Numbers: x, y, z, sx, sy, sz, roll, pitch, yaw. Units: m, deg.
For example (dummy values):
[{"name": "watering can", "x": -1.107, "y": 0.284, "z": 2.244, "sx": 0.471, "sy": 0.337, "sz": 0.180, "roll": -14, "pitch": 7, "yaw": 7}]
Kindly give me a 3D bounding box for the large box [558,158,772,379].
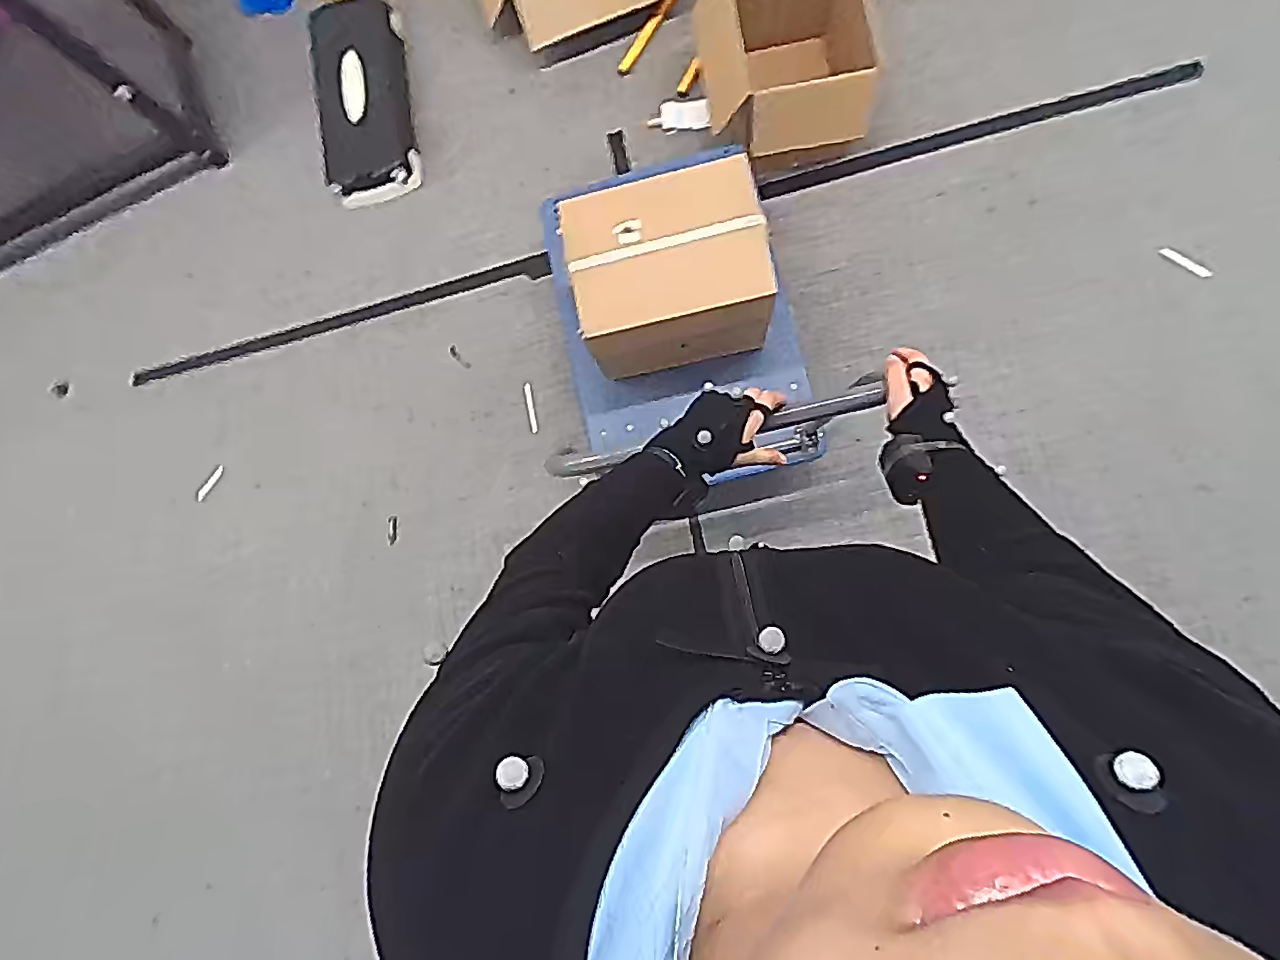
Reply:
[{"name": "large box", "x": 0.066, "y": -0.465, "z": 1.271, "sx": 0.408, "sy": 0.320, "sz": 0.320, "roll": -12, "pitch": 81, "yaw": 6}]
